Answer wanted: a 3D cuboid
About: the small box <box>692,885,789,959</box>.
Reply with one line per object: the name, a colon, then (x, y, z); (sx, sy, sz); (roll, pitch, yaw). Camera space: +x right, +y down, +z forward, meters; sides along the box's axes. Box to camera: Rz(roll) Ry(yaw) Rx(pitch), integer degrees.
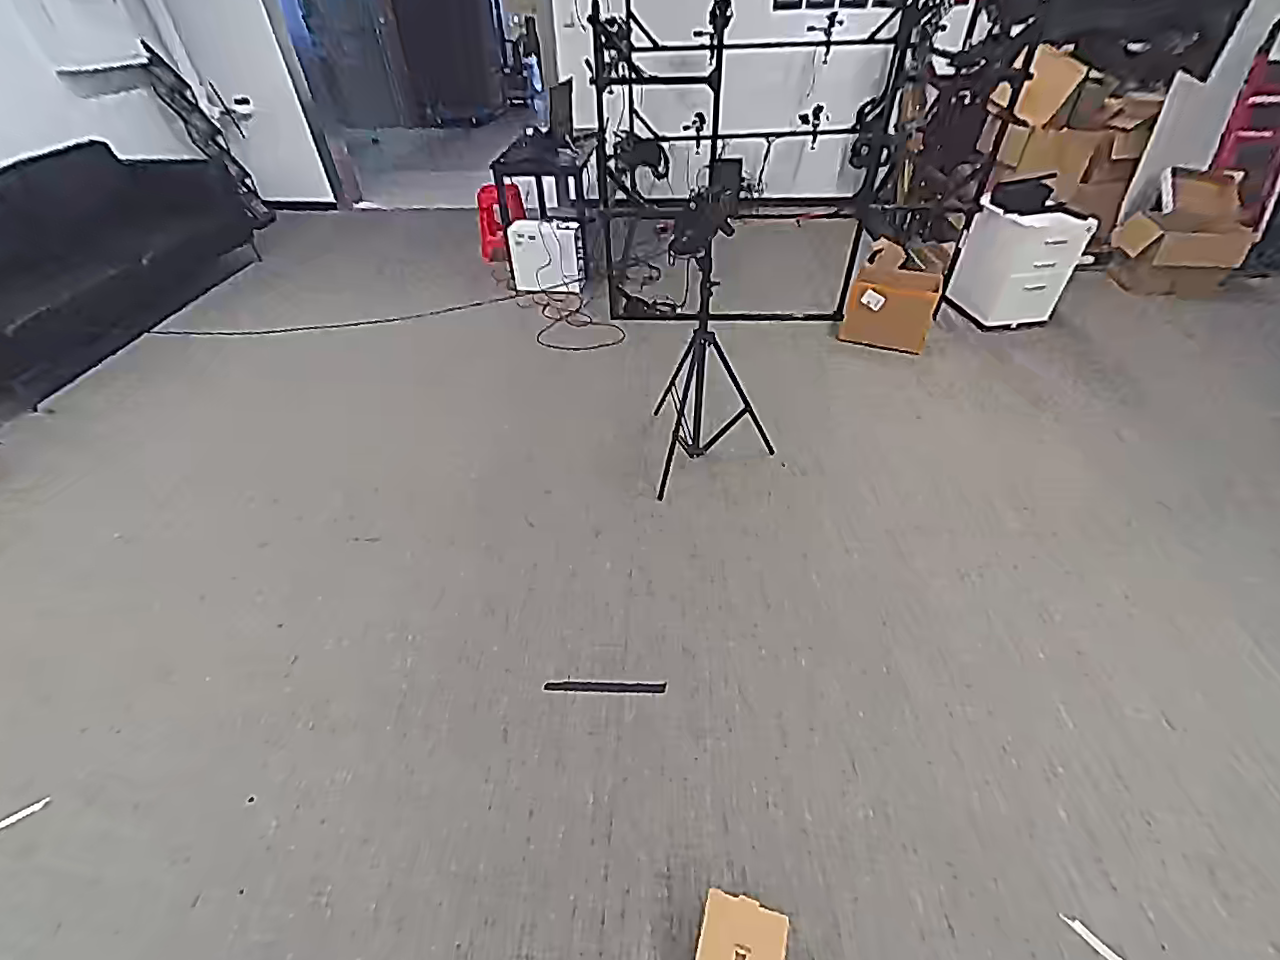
small box: (0.195, 0.971, 1.093); (0.168, 0.176, 0.179); (12, 43, 14)
